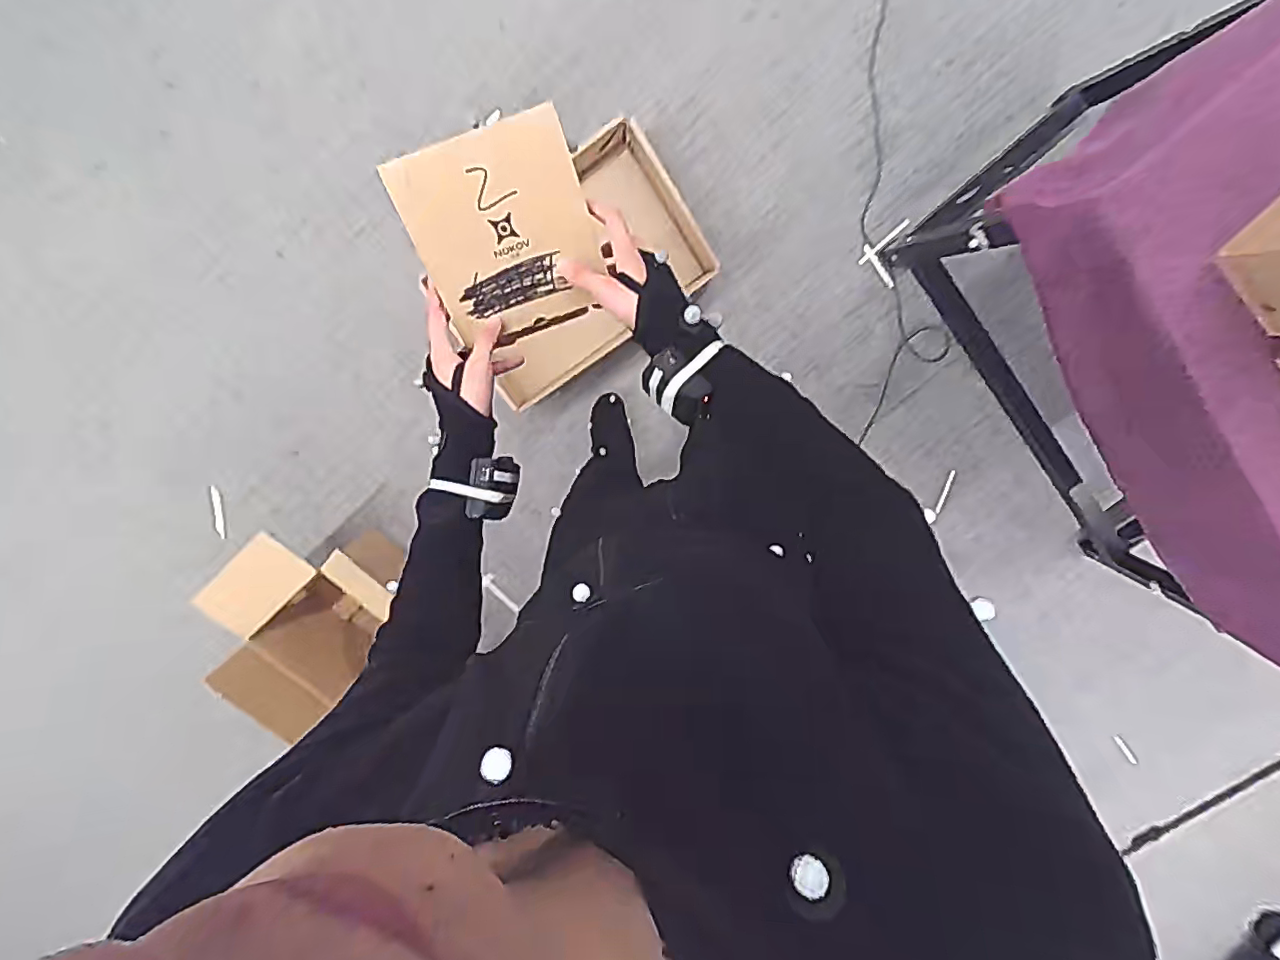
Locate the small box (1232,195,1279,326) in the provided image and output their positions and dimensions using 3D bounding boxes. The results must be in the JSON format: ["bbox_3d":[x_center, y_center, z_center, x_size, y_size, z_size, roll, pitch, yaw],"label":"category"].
[{"bbox_3d":[0.930,-0.308,0.686,0.168,0.176,0.179,40,102,-13],"label":"small box"}]
